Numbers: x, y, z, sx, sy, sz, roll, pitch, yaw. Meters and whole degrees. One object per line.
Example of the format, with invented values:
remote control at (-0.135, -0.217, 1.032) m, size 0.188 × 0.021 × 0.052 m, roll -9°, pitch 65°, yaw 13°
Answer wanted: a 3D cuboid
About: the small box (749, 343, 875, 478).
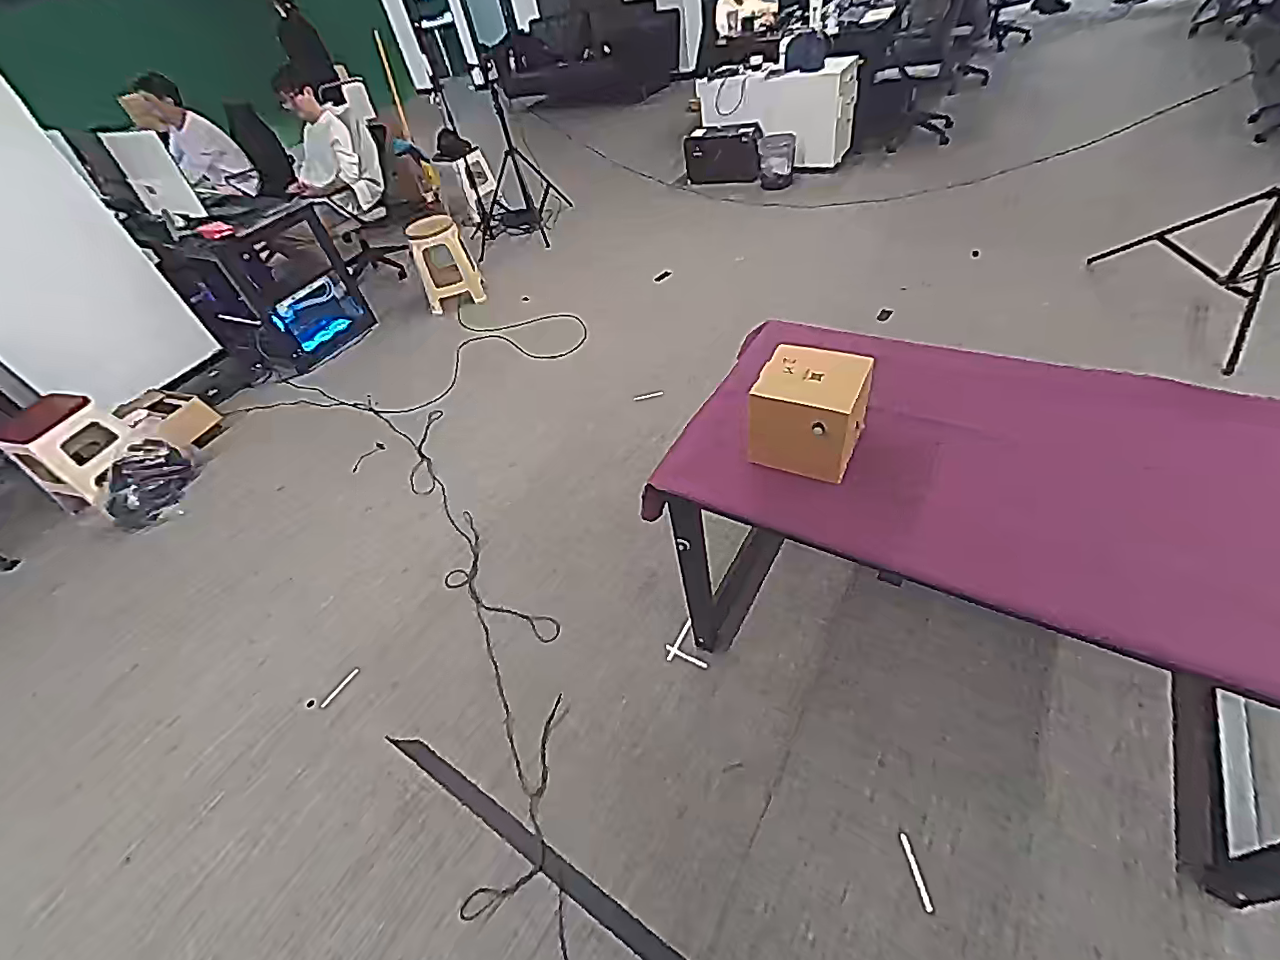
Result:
small box at (0.313, -0.127, 1.001) m, size 0.179 × 0.176 × 0.168 m, roll 17°, pitch 51°, yaw 26°
